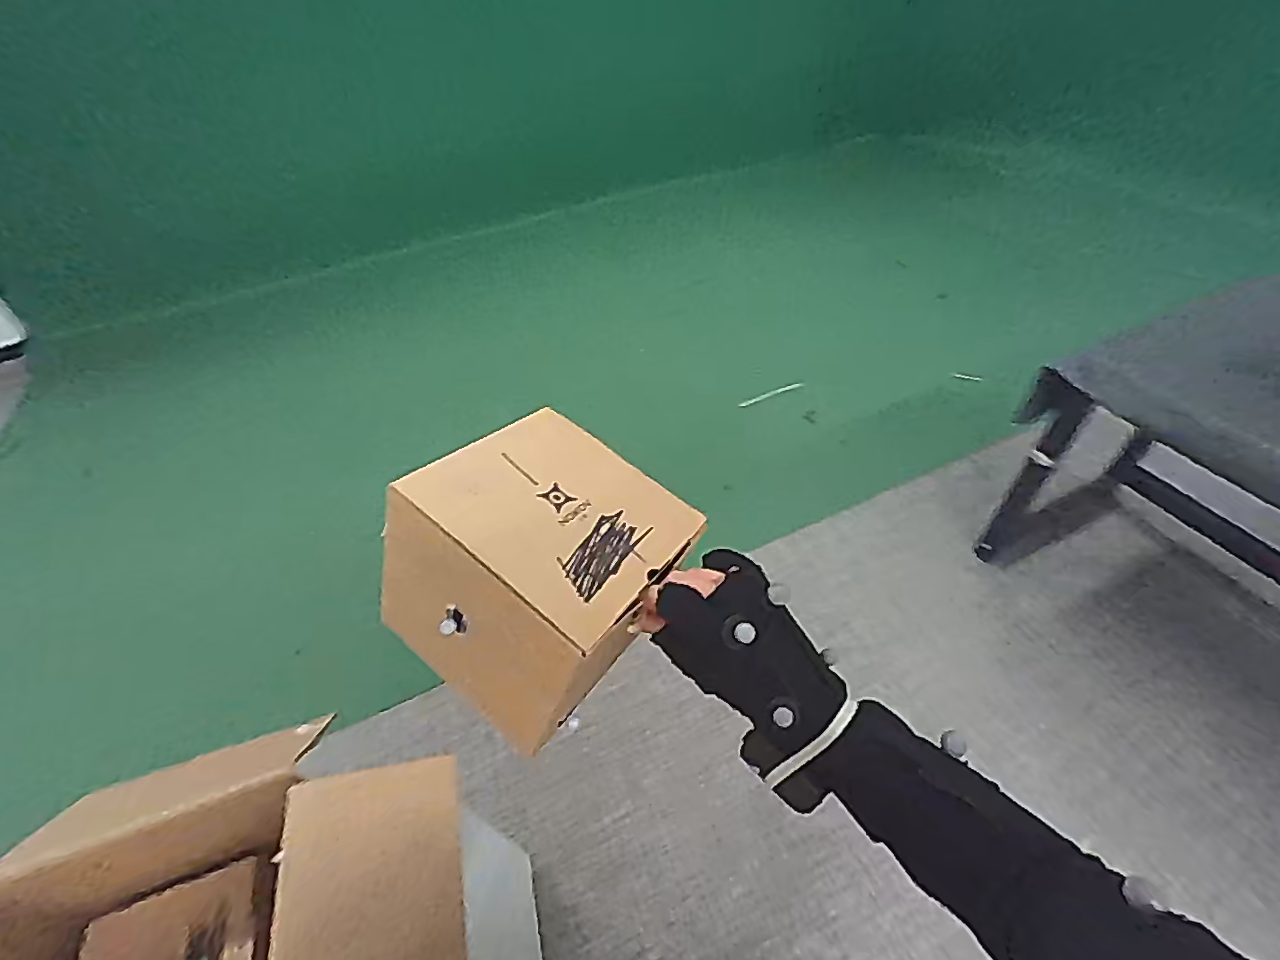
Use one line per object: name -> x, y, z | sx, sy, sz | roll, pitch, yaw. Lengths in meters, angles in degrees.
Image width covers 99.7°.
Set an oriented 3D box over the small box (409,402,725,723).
small box -> -0.066, 0.070, 0.448 | 0.179, 0.176, 0.168 | 37, 41, 15
